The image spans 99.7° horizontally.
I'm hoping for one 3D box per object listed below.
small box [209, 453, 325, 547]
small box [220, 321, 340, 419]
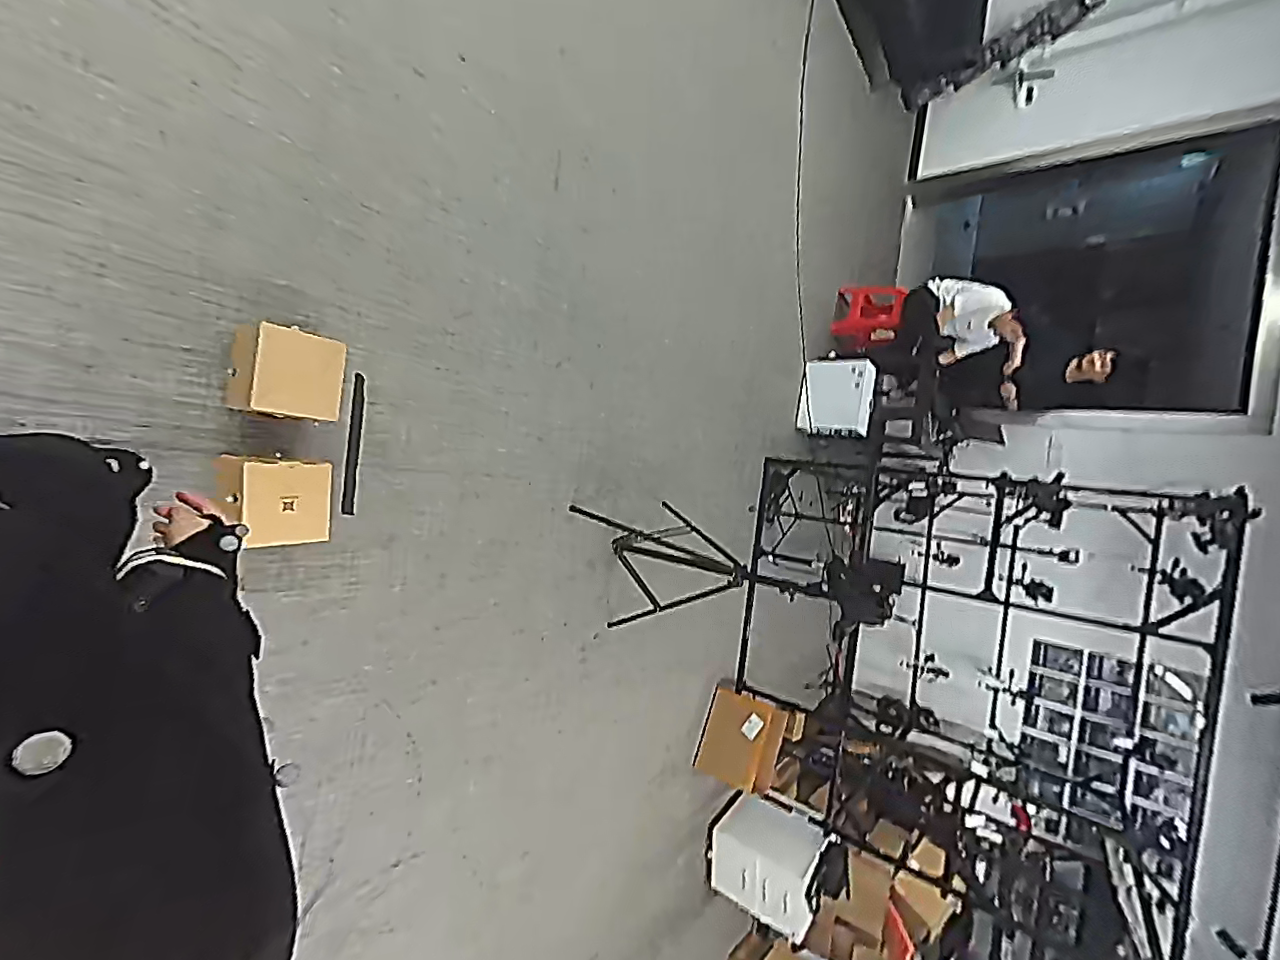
[{"bbox_3d":[-0.811,0.039,1.174,0.168,0.176,0.179,0,95,-53],"label":"small box"},{"bbox_3d":[-0.775,-0.229,1.165,0.168,0.176,0.179,8,90,-53],"label":"small box"}]
